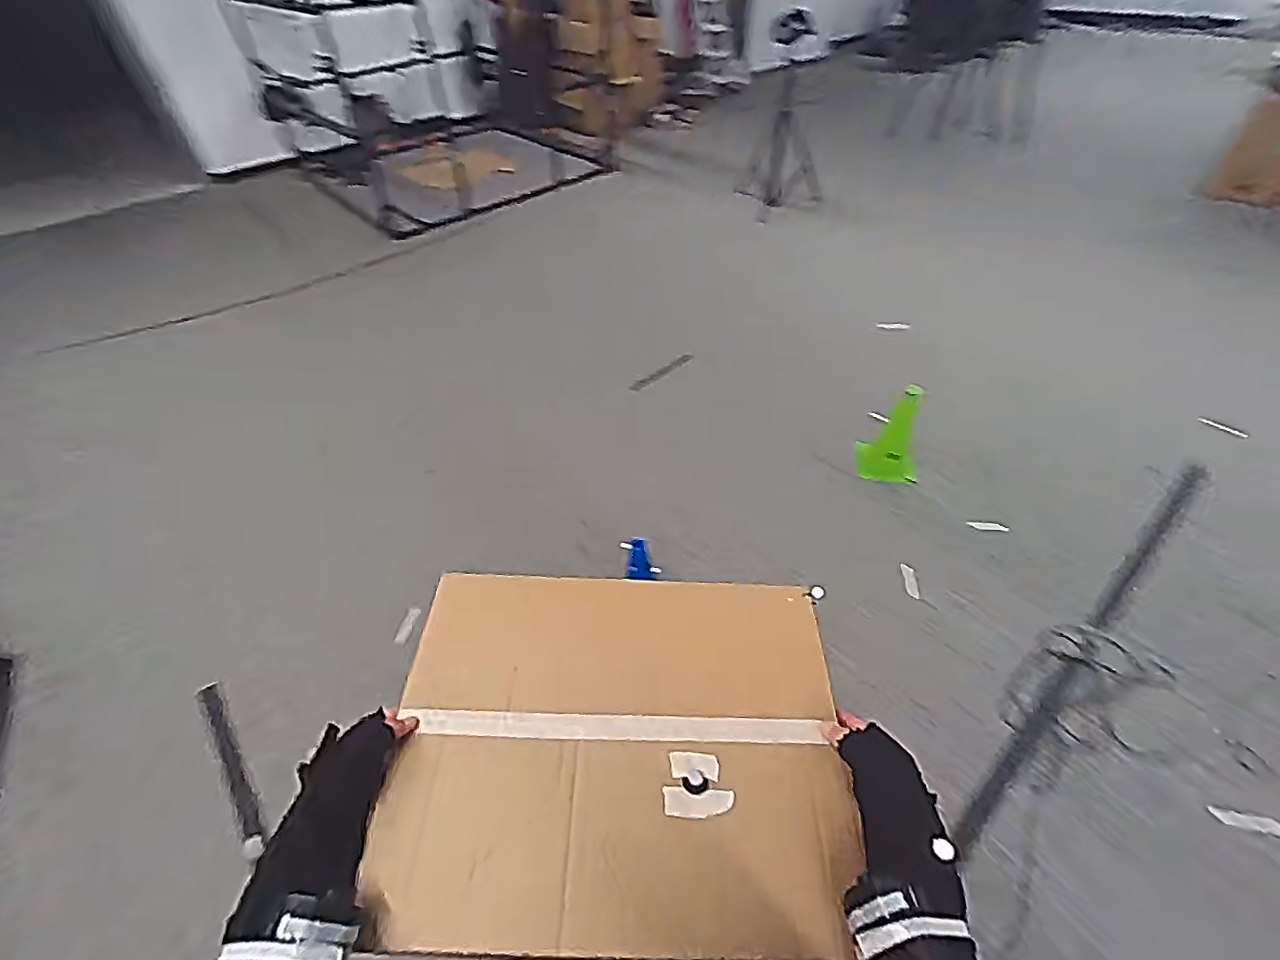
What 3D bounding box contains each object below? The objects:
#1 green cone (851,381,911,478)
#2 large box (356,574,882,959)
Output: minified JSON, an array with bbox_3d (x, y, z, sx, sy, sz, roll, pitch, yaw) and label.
[{"bbox_3d":[0.918,-0.202,1.967,0.202,0.368,0.200,5,46,10],"label":"green cone"},{"bbox_3d":[-0.018,0.327,0.609,0.408,0.320,0.320,4,48,0],"label":"large box"}]
